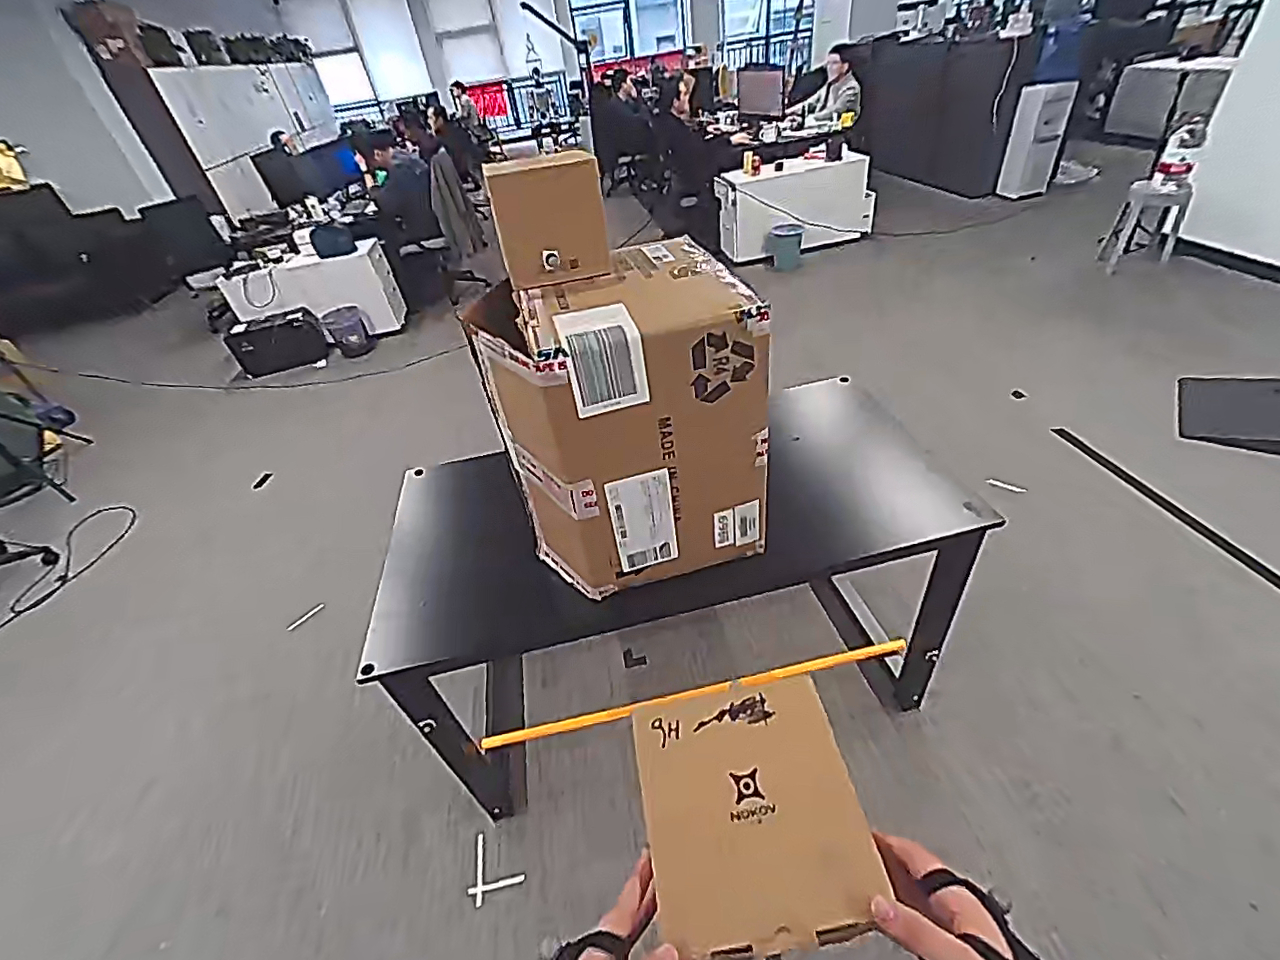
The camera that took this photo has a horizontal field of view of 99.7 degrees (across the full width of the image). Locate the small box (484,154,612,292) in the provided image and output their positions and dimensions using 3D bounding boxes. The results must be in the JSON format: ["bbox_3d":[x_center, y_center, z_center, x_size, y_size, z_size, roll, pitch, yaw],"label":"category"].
[{"bbox_3d":[-0.152,-0.427,0.895,0.168,0.176,0.179,-15,37,-8],"label":"small box"}]
